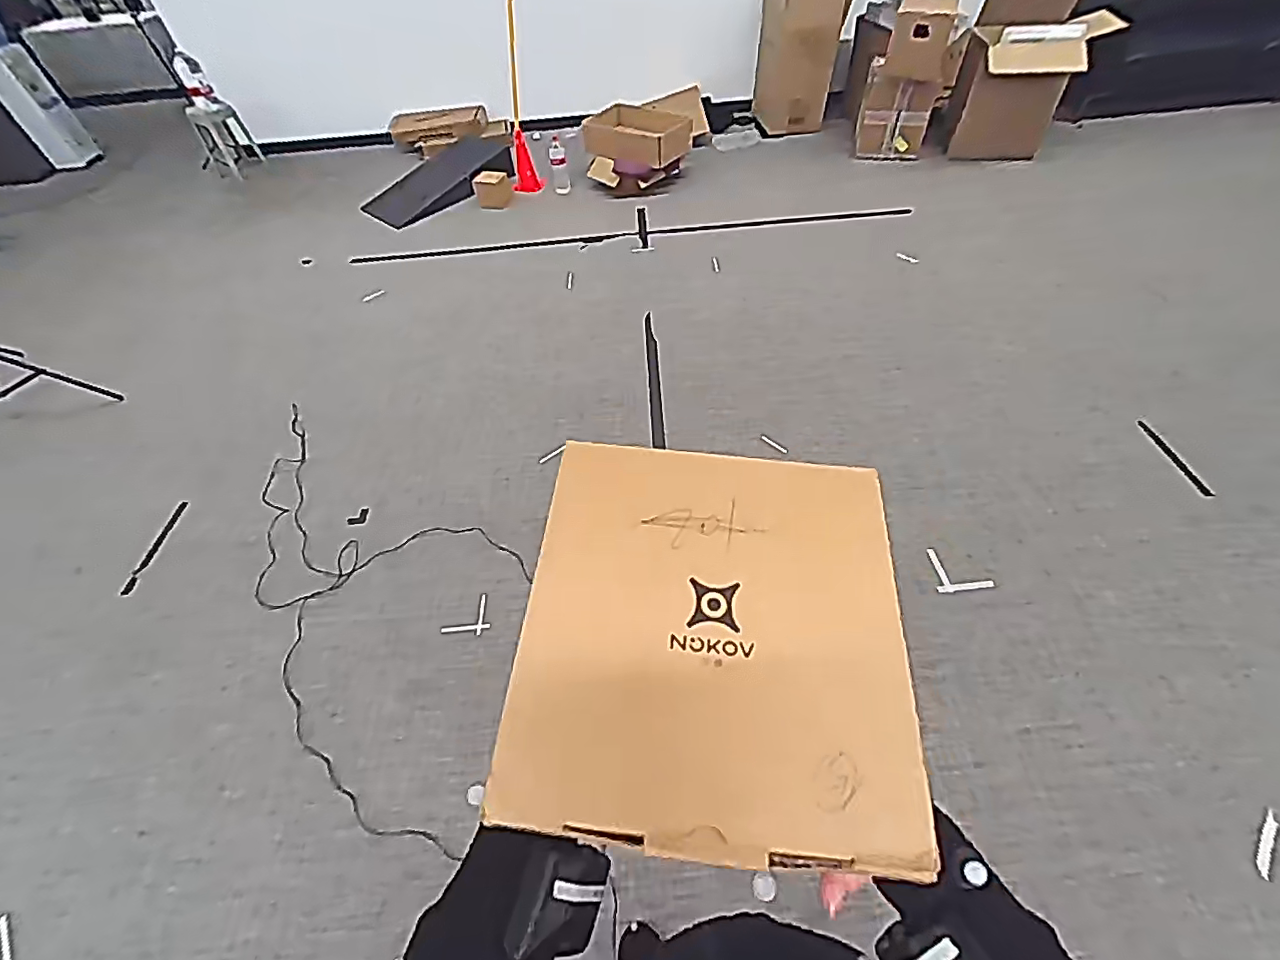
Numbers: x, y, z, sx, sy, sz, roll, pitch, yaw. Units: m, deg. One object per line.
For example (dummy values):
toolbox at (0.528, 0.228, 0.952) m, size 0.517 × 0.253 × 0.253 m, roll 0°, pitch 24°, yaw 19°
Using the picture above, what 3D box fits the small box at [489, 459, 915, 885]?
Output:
small box at (0.030, 0.112, 0.314) m, size 0.168 × 0.176 × 0.179 m, roll 6°, pitch 56°, yaw 2°
